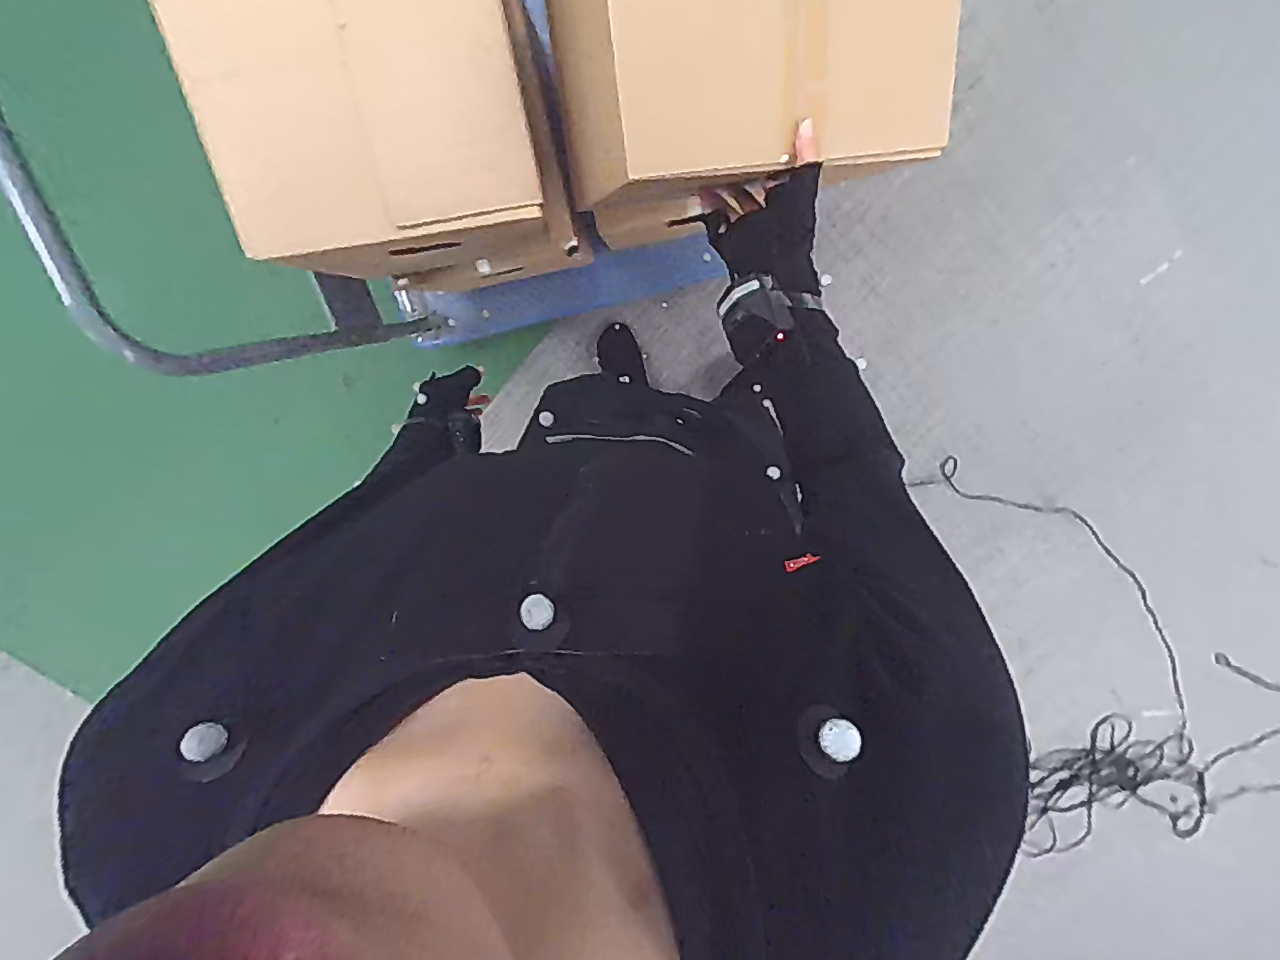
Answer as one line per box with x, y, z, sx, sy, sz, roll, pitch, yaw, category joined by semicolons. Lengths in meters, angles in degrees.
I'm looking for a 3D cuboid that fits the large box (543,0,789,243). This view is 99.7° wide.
0.042;-0.660;0.927;0.320;0.320;0.408;-11;110;6;large box
